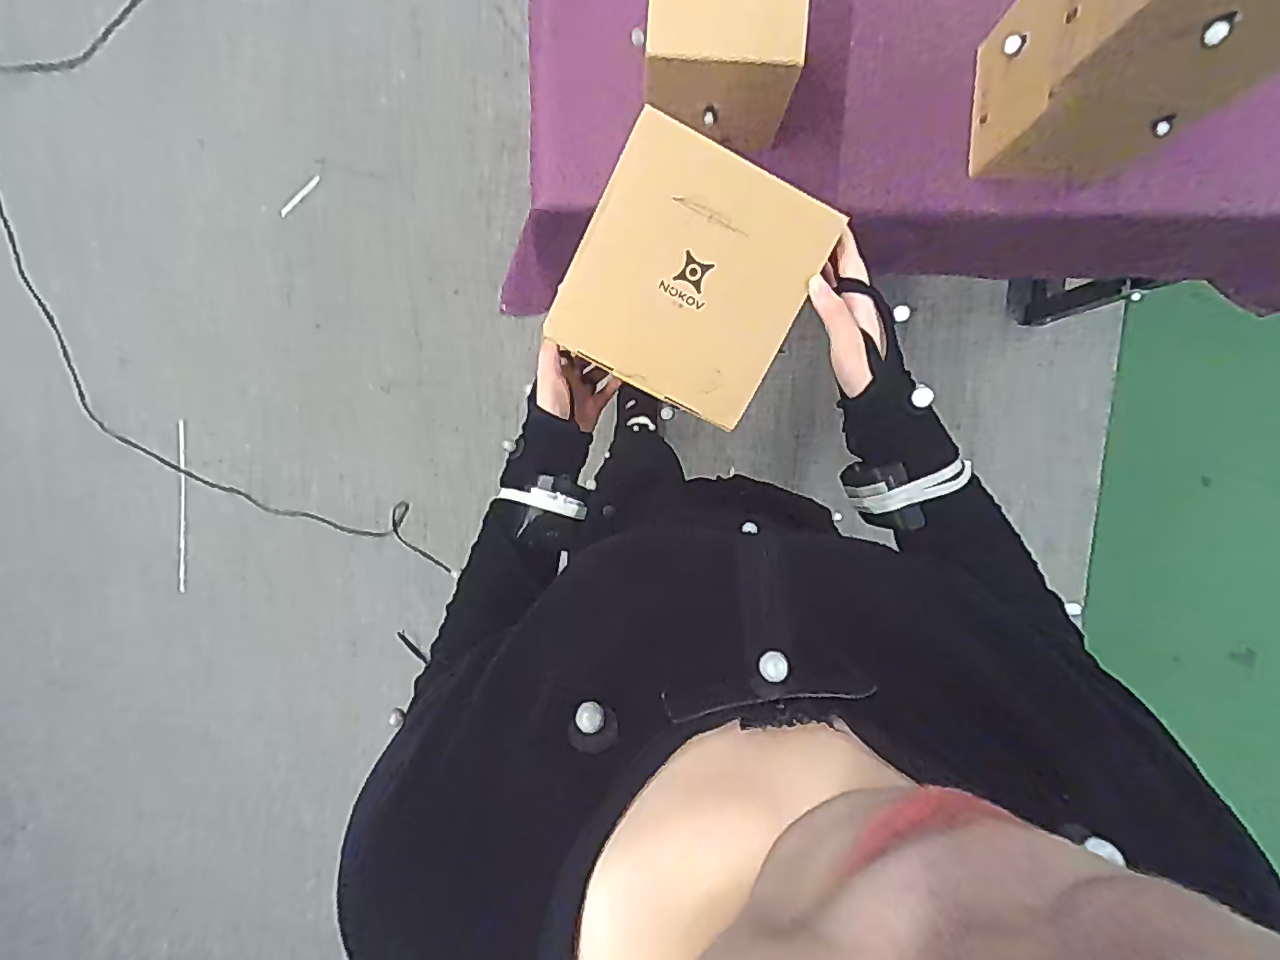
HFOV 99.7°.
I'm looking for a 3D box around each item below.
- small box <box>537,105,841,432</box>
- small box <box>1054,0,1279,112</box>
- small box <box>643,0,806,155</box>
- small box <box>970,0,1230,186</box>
[{"bbox_3d":[0.035,-0.161,0.470,0.168,0.176,0.179,28,99,-5],"label":"small box"},{"bbox_3d":[0.507,-0.454,0.465,0.179,0.176,0.168,7,93,1],"label":"small box"},{"bbox_3d":[0.093,-0.513,0.633,0.168,0.176,0.179,4,93,0],"label":"small box"},{"bbox_3d":[0.518,-0.466,0.628,0.179,0.176,0.168,2,93,1],"label":"small box"}]
